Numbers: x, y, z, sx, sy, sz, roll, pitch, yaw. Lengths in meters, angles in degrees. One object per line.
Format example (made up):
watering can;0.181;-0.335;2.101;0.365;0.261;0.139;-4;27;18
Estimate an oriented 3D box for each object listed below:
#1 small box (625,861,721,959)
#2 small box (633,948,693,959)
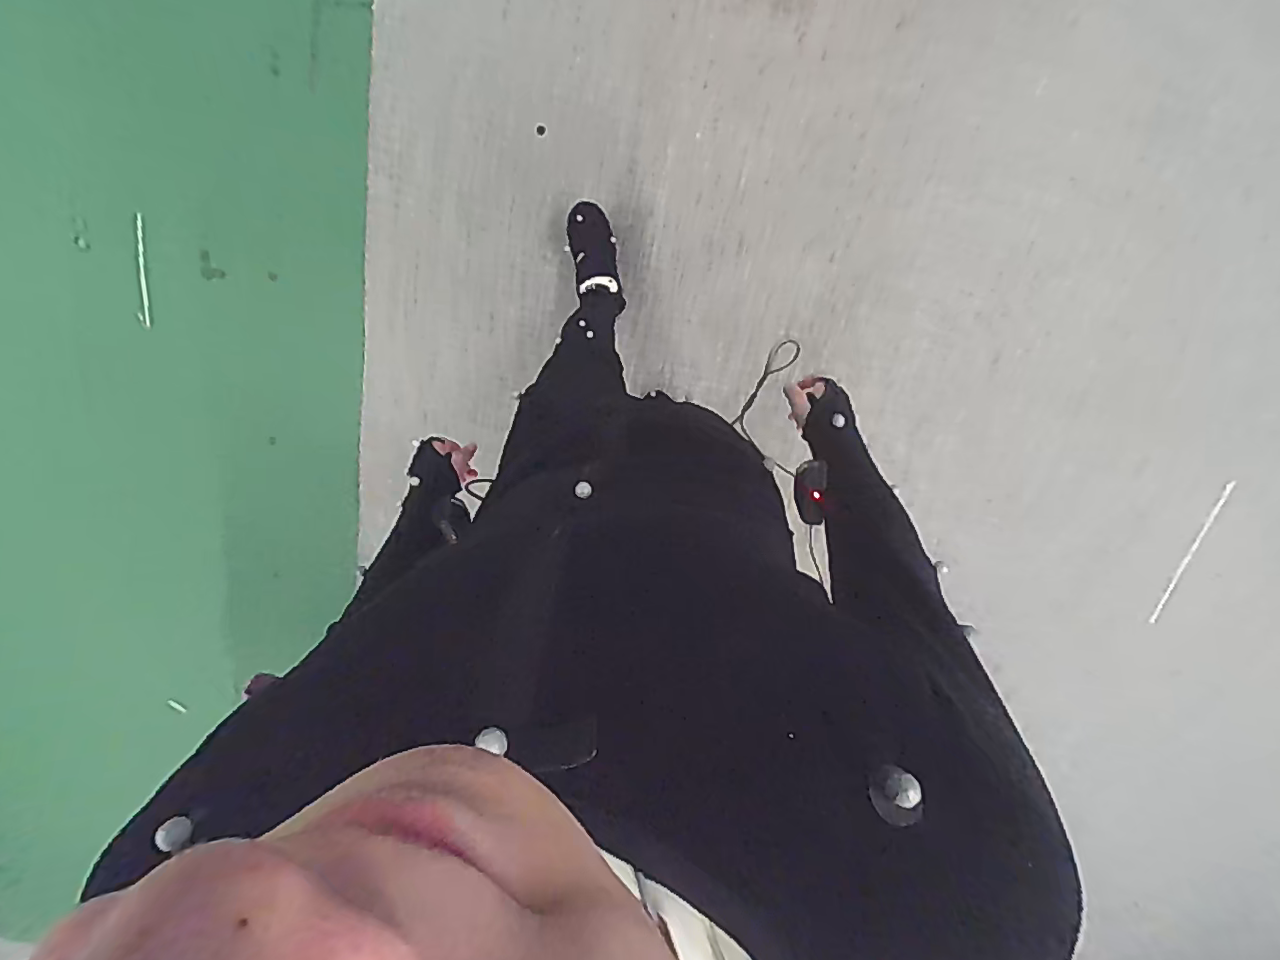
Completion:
small box;0.065;0.929;1.101;0.168;0.176;0.179;11;109;1
small box;0.051;0.982;0.947;0.168;0.176;0.179;10;108;2
